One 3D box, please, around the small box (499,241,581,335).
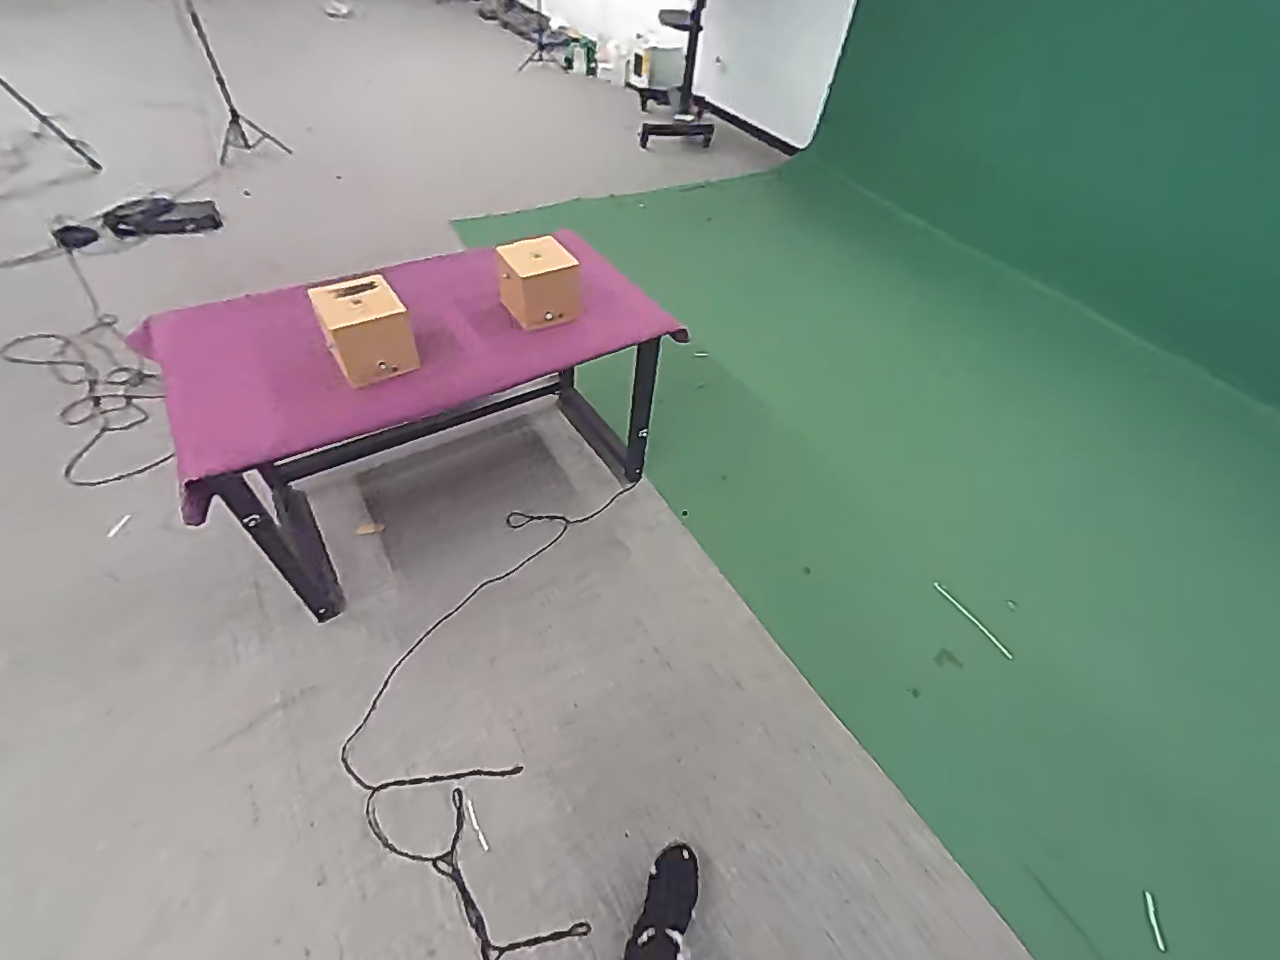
[{"bbox_3d":[-0.273,-0.527,1.486,0.168,0.176,0.179,-23,55,-22],"label":"small box"}]
